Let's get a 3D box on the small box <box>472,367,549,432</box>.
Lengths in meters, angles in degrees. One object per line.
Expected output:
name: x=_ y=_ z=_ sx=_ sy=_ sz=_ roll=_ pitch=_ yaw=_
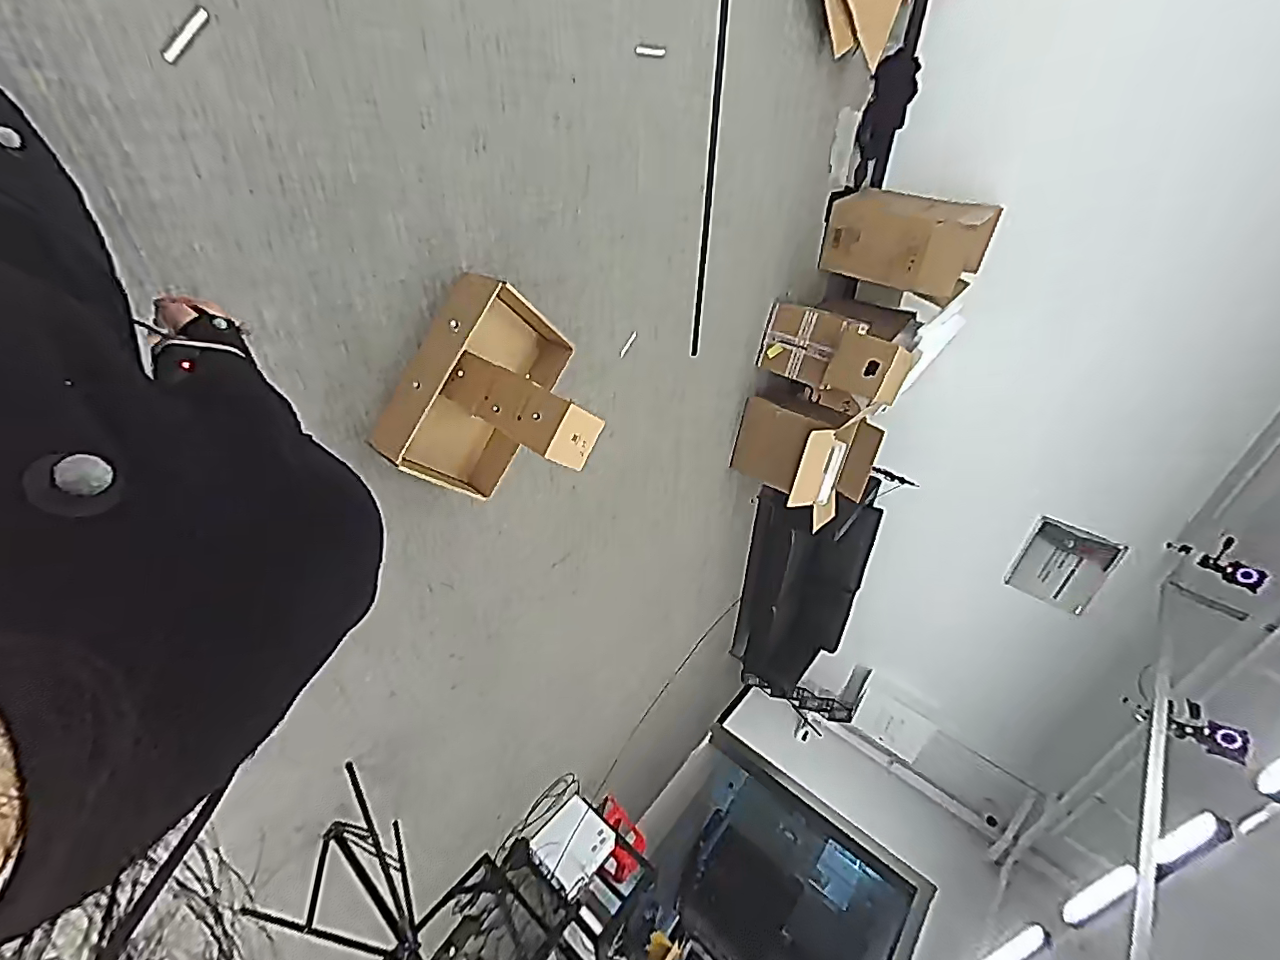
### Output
small box: x=-0.373 y=-0.224 z=1.641 sx=0.168 sy=0.176 sz=0.179 roll=-62 pitch=151 yaw=2

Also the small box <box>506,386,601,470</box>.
small box: x=-0.251 y=-0.152 z=1.555 sx=0.168 sy=0.176 sz=0.179 roll=-61 pitch=149 yaw=3

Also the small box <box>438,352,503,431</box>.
small box: x=-0.500 y=-0.285 z=1.721 sx=0.168 sy=0.176 sz=0.179 roll=-61 pitch=149 yaw=-2
